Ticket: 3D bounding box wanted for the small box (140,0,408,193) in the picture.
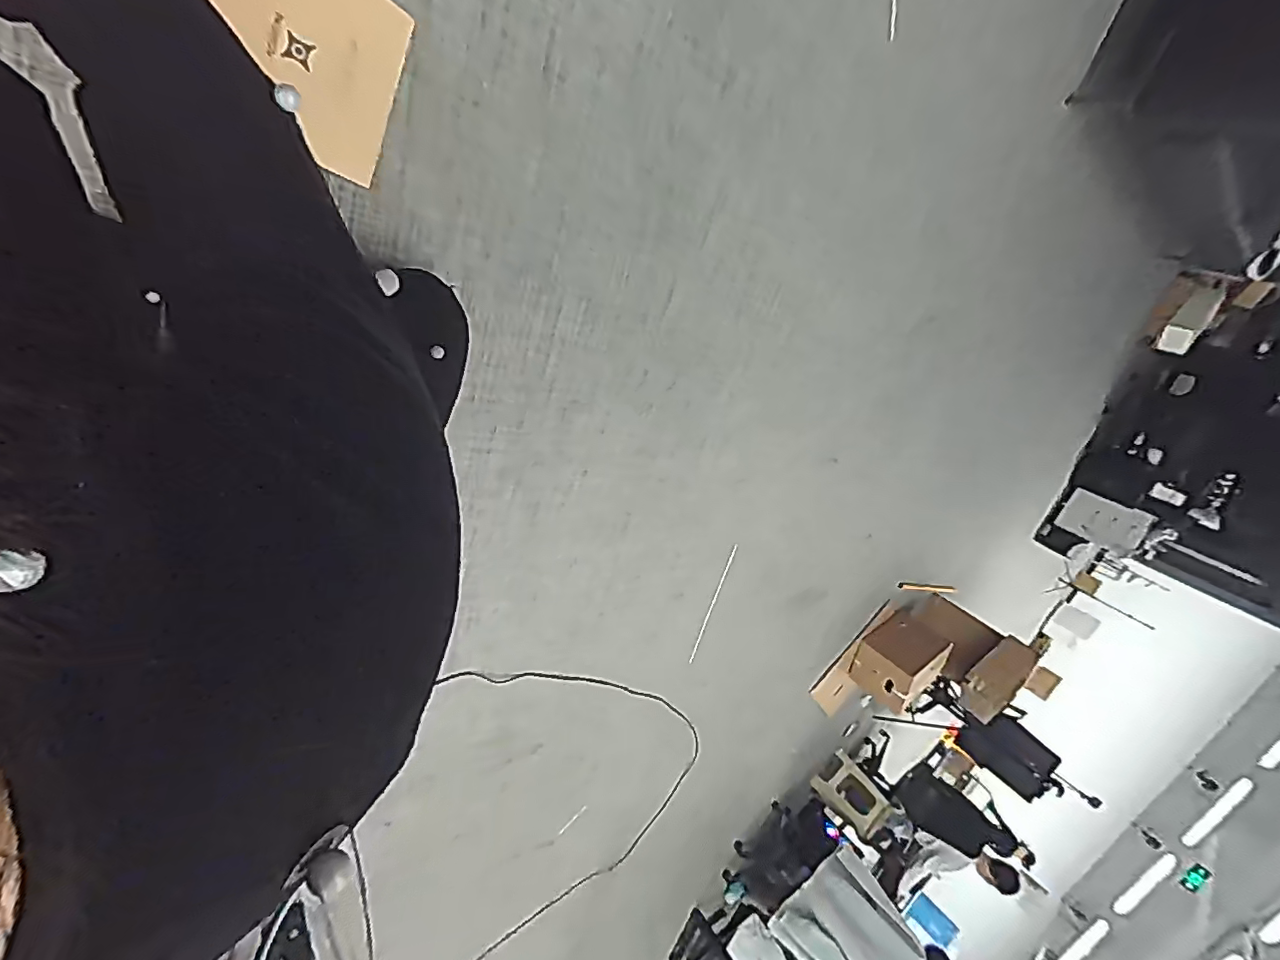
[{"bbox_3d":[-0.366,-0.416,0.538,0.179,0.176,0.168,10,111,-46],"label":"small box"}]
